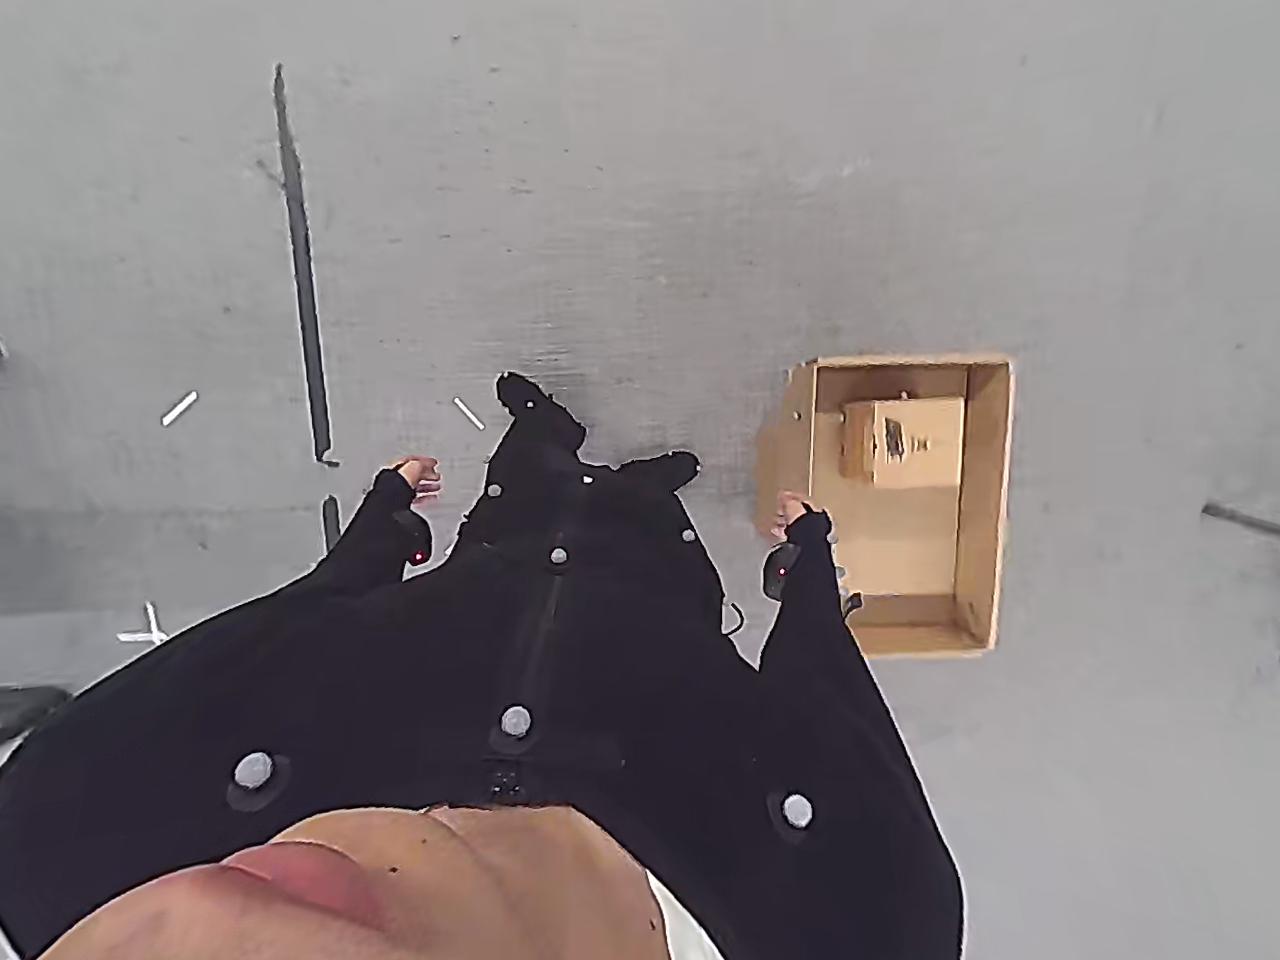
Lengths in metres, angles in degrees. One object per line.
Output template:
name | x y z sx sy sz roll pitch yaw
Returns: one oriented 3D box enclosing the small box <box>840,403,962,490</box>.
small box | 0.524 -0.072 1.110 0.179 0.176 0.168 -2 98 0
